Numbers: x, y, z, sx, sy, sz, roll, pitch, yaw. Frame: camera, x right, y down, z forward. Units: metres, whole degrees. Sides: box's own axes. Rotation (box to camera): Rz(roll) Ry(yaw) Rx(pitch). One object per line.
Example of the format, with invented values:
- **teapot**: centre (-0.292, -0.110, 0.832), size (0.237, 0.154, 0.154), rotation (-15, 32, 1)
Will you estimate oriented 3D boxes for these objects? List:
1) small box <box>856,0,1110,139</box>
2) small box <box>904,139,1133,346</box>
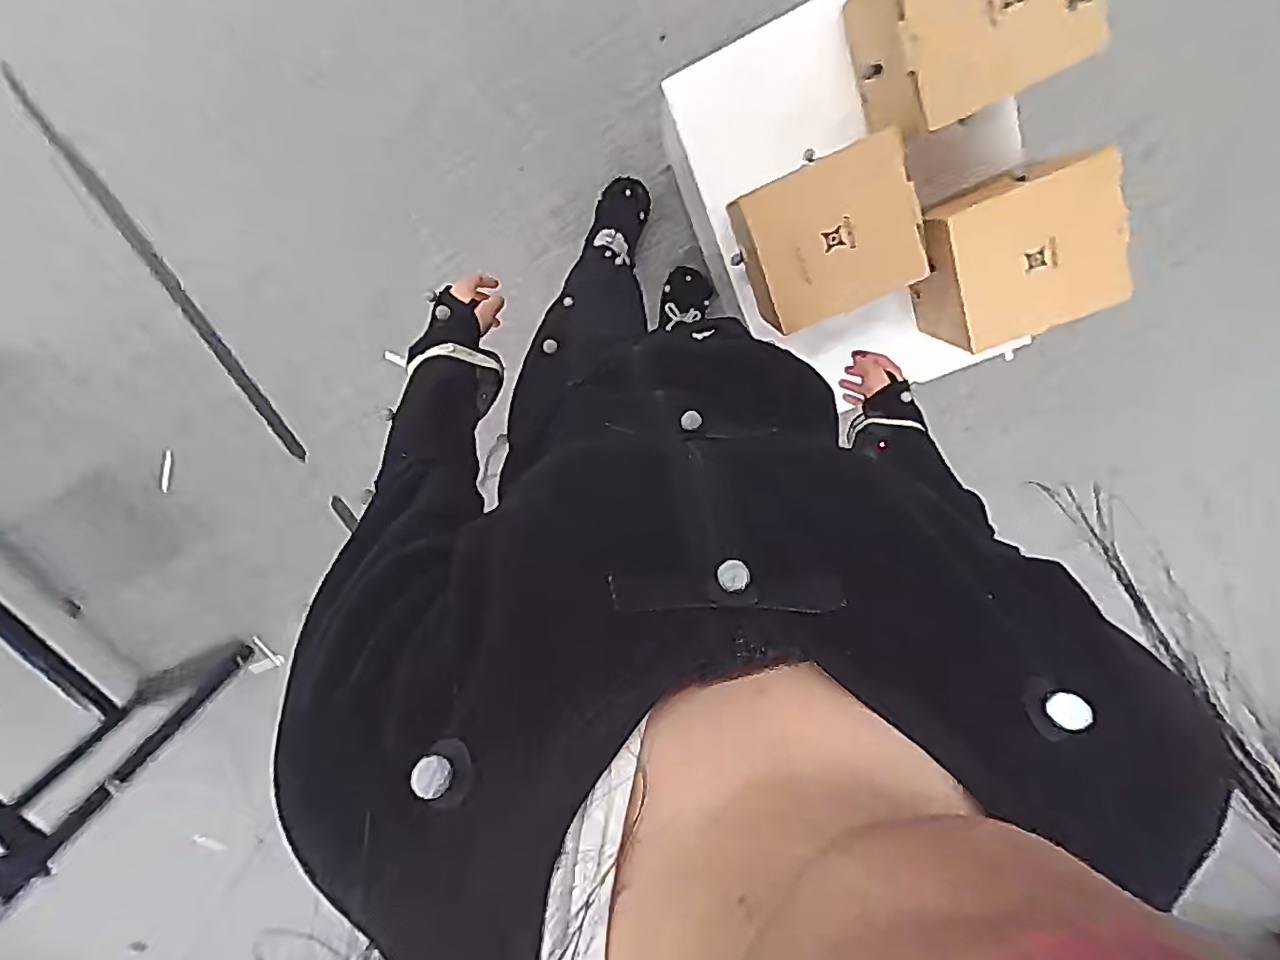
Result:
- **small box**: centre (0.348, -0.496, 0.581), size (0.179, 0.176, 0.168), rotation (-20, 114, 14)
- **small box**: centre (0.452, -0.287, 0.674), size (0.179, 0.176, 0.168), rotation (-20, 112, 12)
